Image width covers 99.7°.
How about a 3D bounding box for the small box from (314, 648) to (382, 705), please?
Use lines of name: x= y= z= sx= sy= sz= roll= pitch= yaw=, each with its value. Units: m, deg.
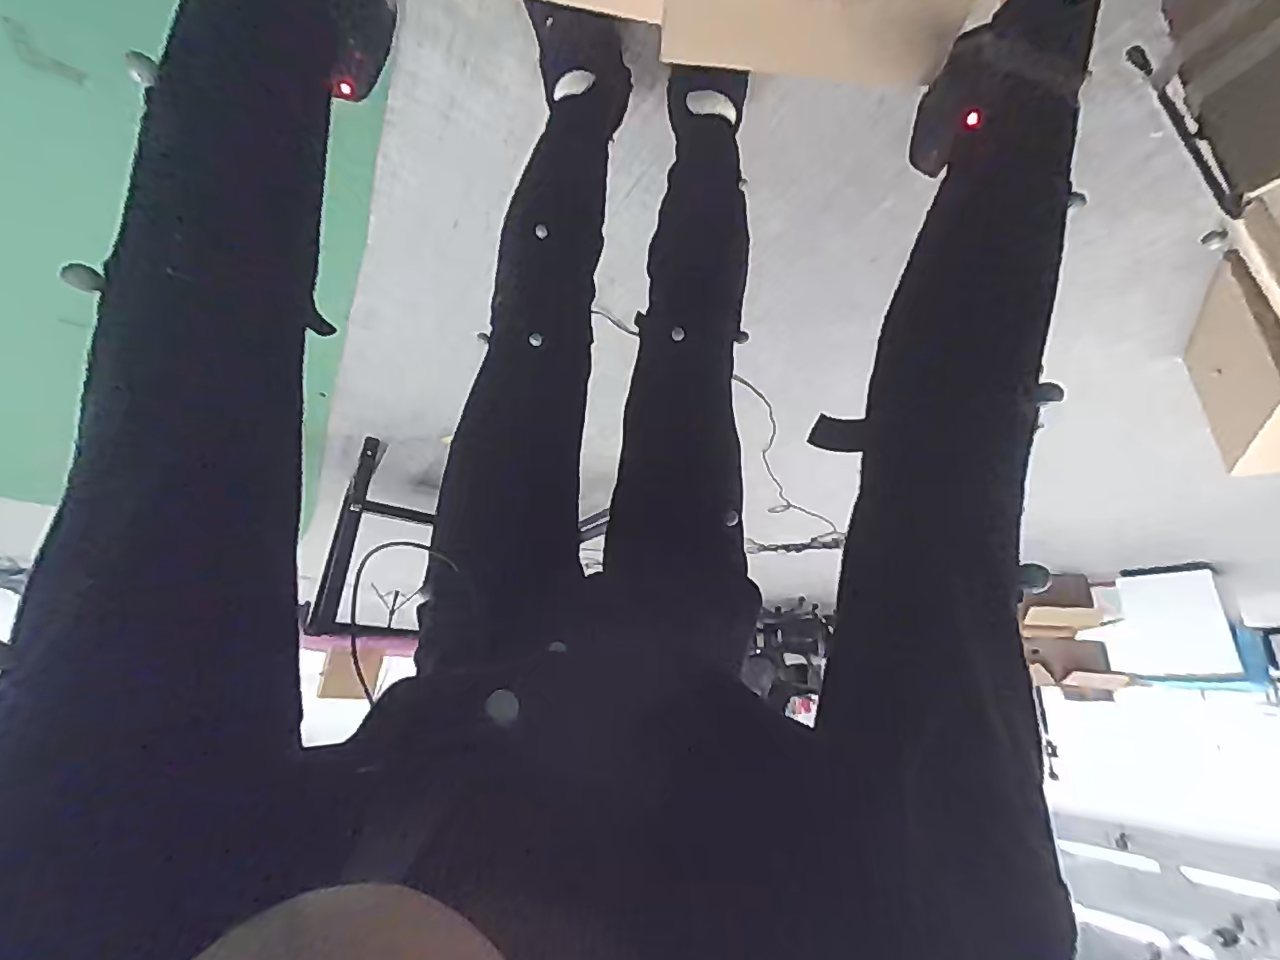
small box: x=-1.004 y=0.677 z=1.864 sx=0.168 sy=0.176 sz=0.179 roll=16 pitch=156 yaw=-30
